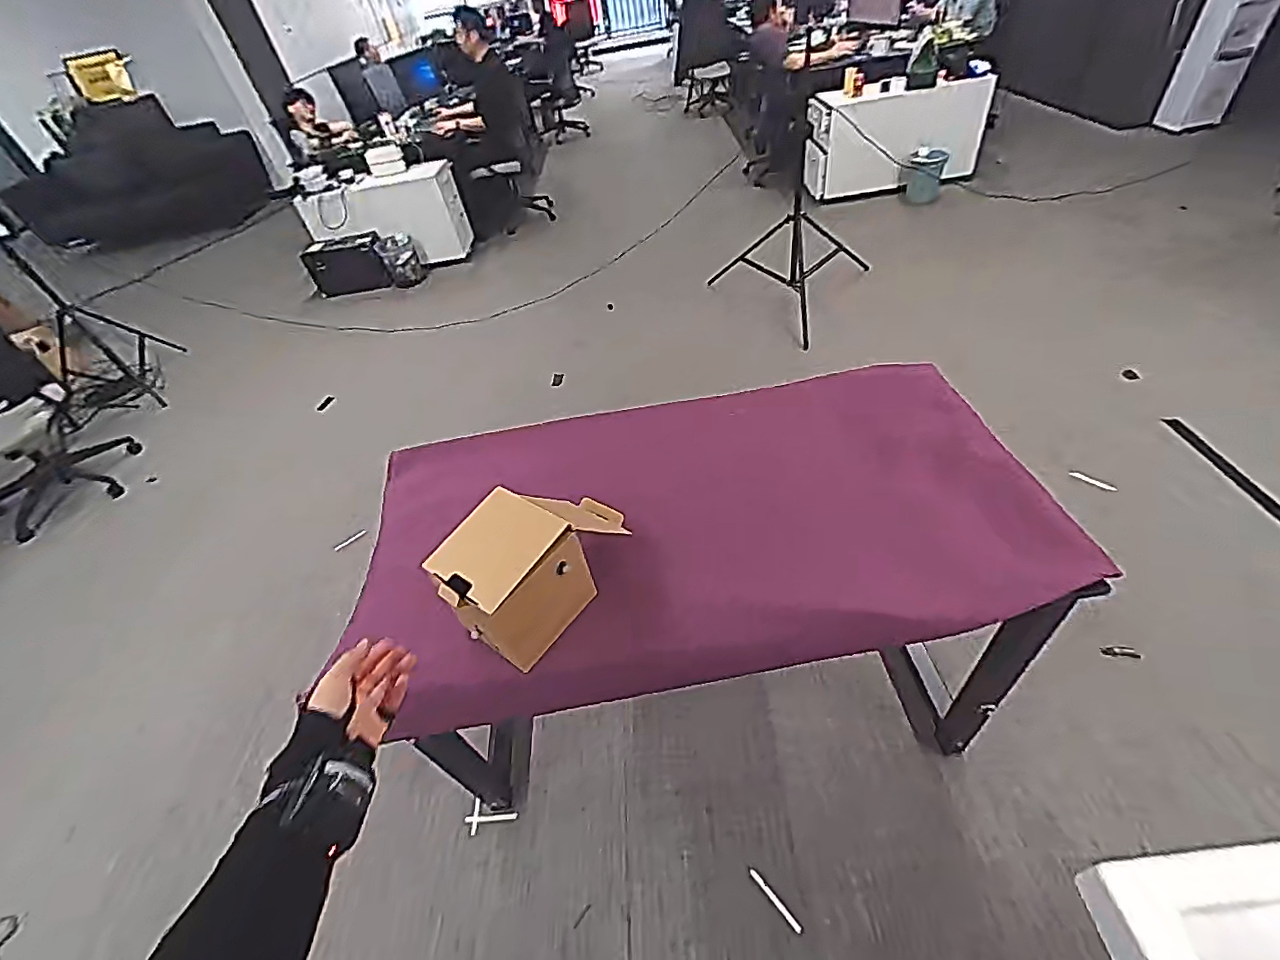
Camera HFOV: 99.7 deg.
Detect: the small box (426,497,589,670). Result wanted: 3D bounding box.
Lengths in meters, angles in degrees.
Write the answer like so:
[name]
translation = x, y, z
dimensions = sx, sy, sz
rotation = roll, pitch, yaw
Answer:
[small box]
translation = -0.199, 0.164, 0.870
dimensions = 0.168, 0.176, 0.179
rotation = 22, 53, 32
